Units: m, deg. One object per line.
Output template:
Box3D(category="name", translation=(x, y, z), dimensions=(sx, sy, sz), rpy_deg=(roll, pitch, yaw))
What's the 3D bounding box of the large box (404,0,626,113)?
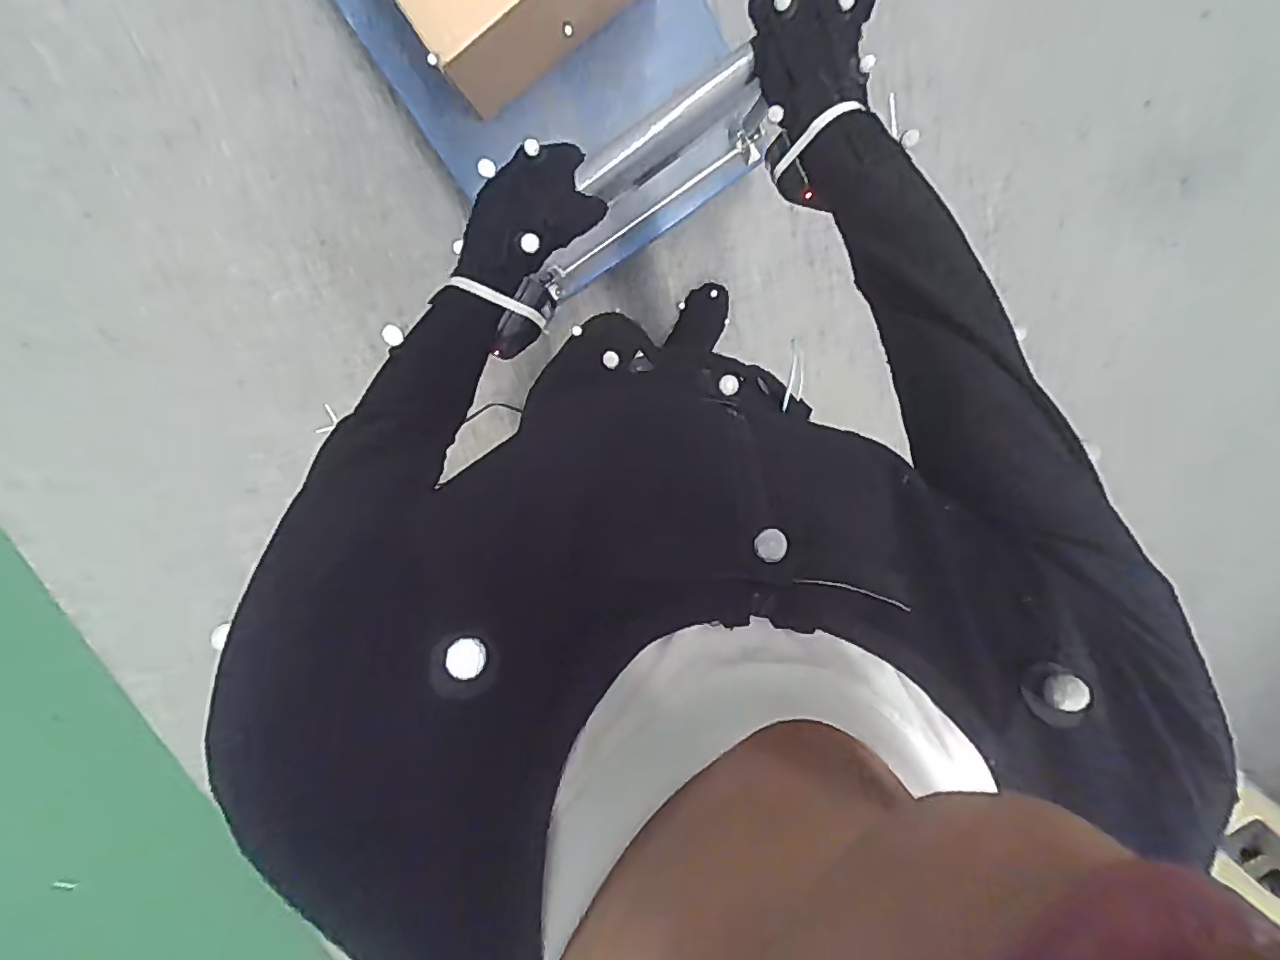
Box3D(category="large box", translation=(-0.206, -0.878, 0.838), dimensions=(0.408, 0.320, 0.320), rpy_deg=(-33, 109, 10))
